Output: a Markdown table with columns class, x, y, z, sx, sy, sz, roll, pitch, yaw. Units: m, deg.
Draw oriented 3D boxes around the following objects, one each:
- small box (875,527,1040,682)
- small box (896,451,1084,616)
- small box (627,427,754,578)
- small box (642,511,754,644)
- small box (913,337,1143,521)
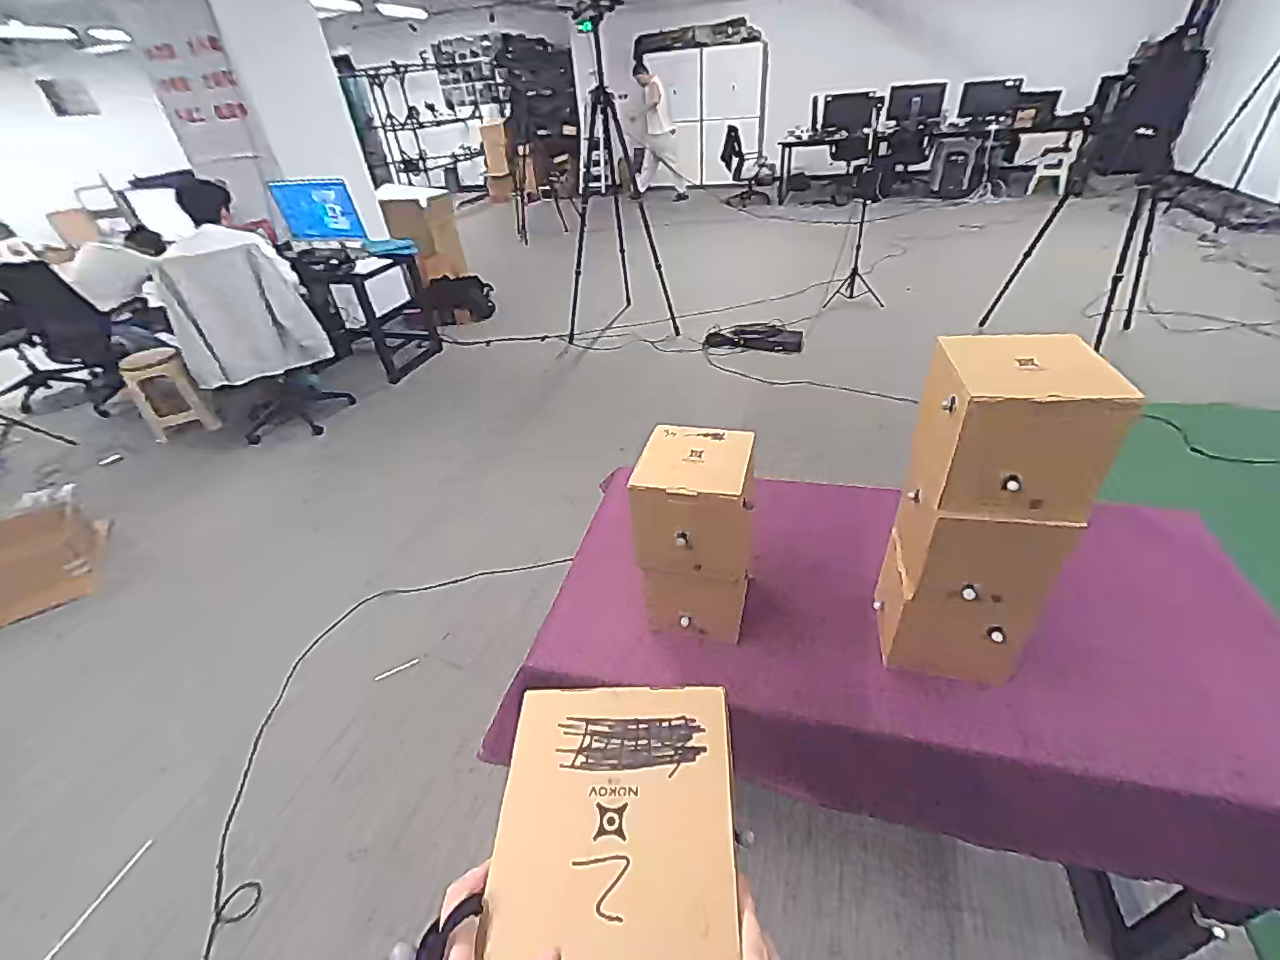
| class | x | y | z | sx | sy | sz | roll | pitch | yaw |
| --- | --- | --- | --- | --- | --- | --- | --- | --- | --- |
| small box | 0.491 | 0.198 | 0.868 | 0.179 | 0.176 | 0.168 | 5 | 37 | 14 |
| small box | 0.477 | 0.066 | 0.774 | 0.168 | 0.176 | 0.179 | 4 | 38 | 14 |
| small box | 0.088 | 0.035 | 0.871 | 0.168 | 0.176 | 0.179 | 7 | 39 | 16 |
| small box | 0.108 | 0.162 | 0.973 | 0.168 | 0.176 | 0.179 | 6 | 38 | 16 |
| small box | 0.462 | -0.069 | 0.684 | 0.168 | 0.176 | 0.179 | 2 | 38 | 12 |
